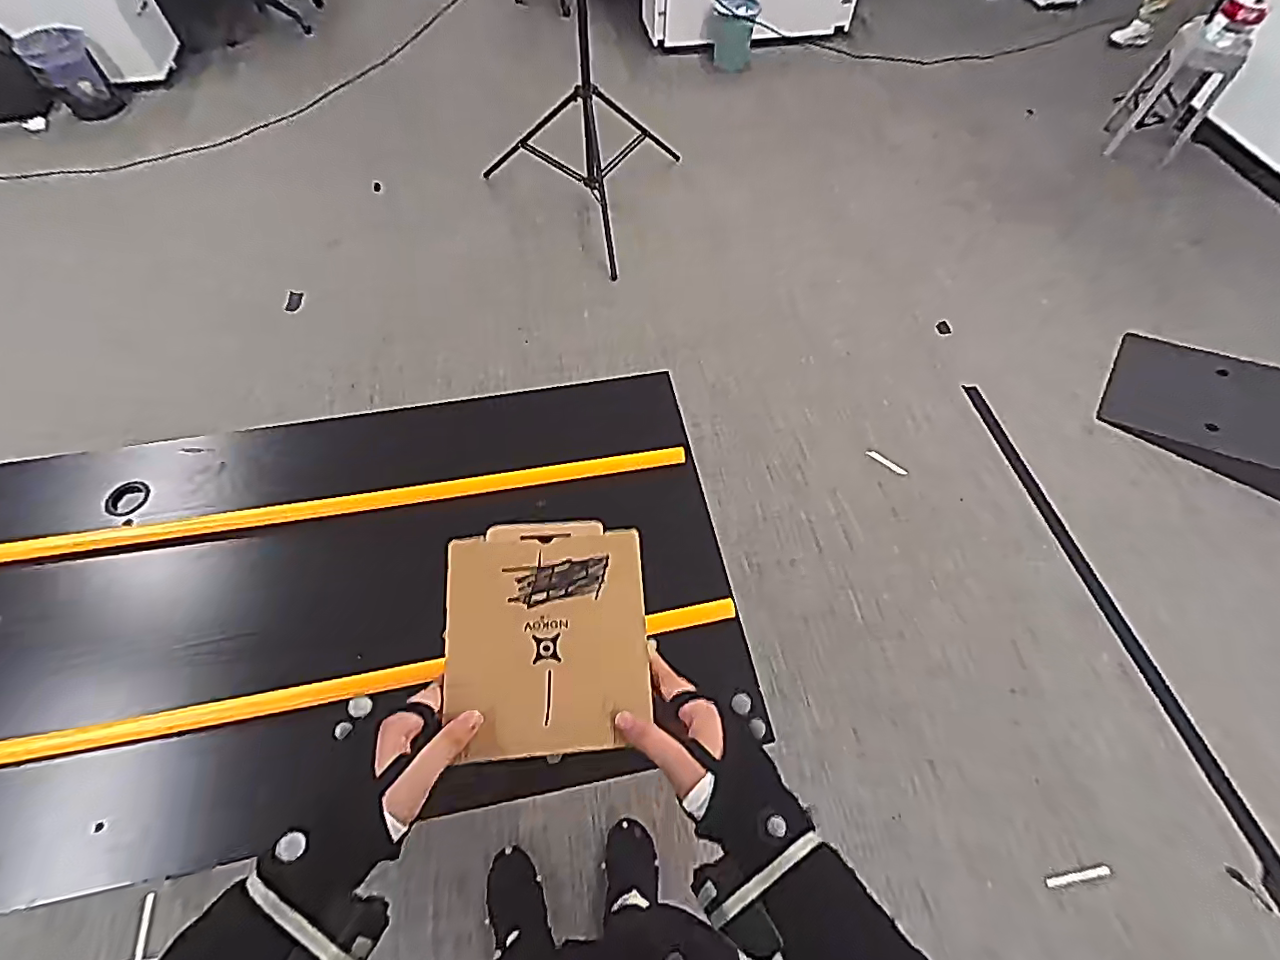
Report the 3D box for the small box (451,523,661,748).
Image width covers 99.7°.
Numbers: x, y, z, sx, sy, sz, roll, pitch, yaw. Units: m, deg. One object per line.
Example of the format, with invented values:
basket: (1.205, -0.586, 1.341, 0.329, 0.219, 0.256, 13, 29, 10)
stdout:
small box: (-0.076, 0.151, 0.525, 0.168, 0.176, 0.179, -3, 70, -5)
